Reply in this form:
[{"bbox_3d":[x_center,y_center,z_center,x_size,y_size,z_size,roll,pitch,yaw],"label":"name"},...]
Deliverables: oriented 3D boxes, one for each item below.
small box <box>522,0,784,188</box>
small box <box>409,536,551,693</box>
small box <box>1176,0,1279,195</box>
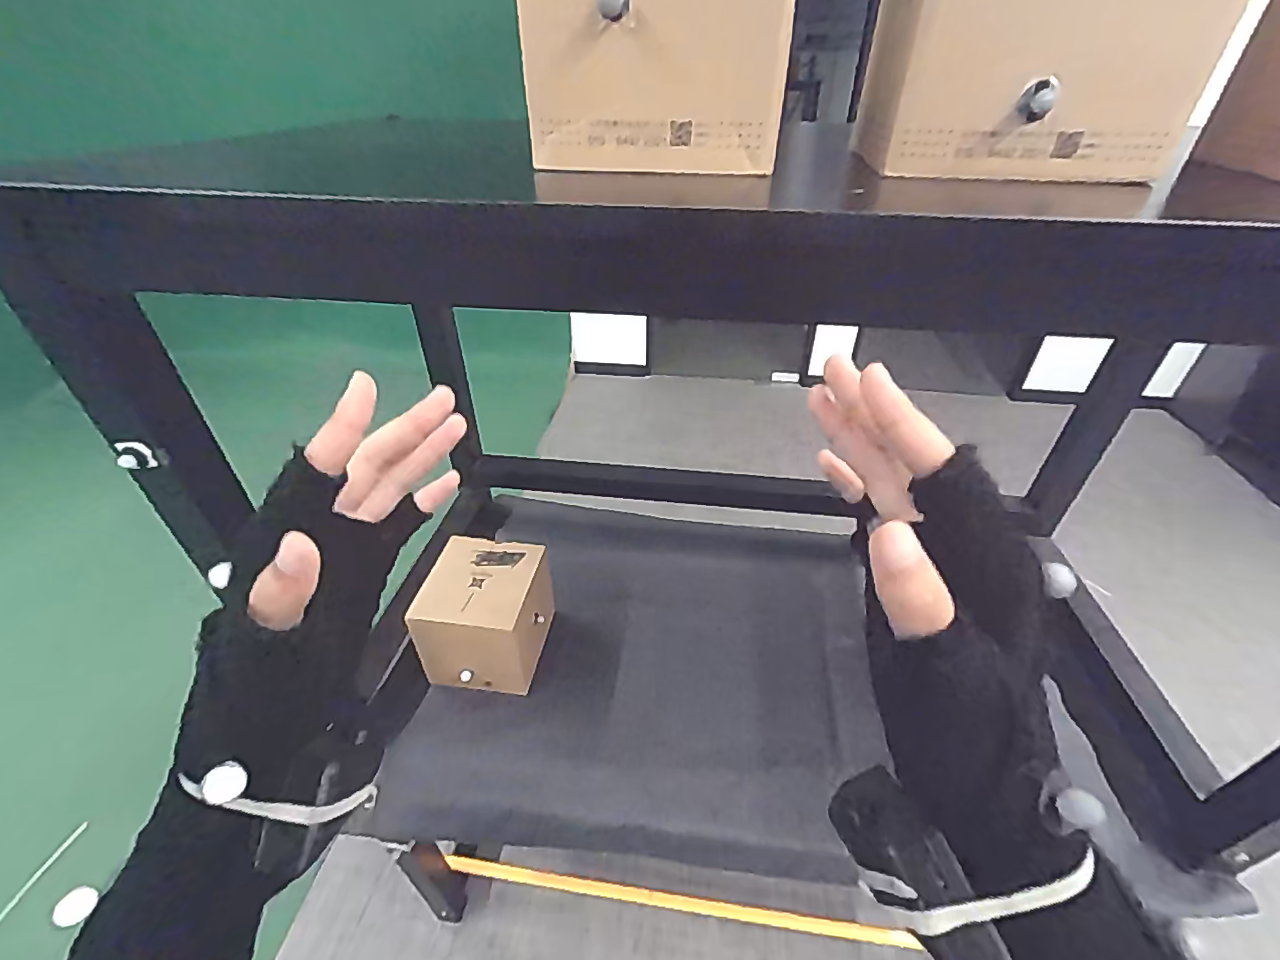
[{"bbox_3d":[0.018,-0.324,0.404,0.168,0.176,0.179,5,37,6],"label":"small box"},{"bbox_3d":[-0.249,0.218,0.891,0.168,0.176,0.179,5,37,6],"label":"small box"},{"bbox_3d":[0.495,-0.266,0.324,0.168,0.176,0.179,12,38,15],"label":"small box"}]
